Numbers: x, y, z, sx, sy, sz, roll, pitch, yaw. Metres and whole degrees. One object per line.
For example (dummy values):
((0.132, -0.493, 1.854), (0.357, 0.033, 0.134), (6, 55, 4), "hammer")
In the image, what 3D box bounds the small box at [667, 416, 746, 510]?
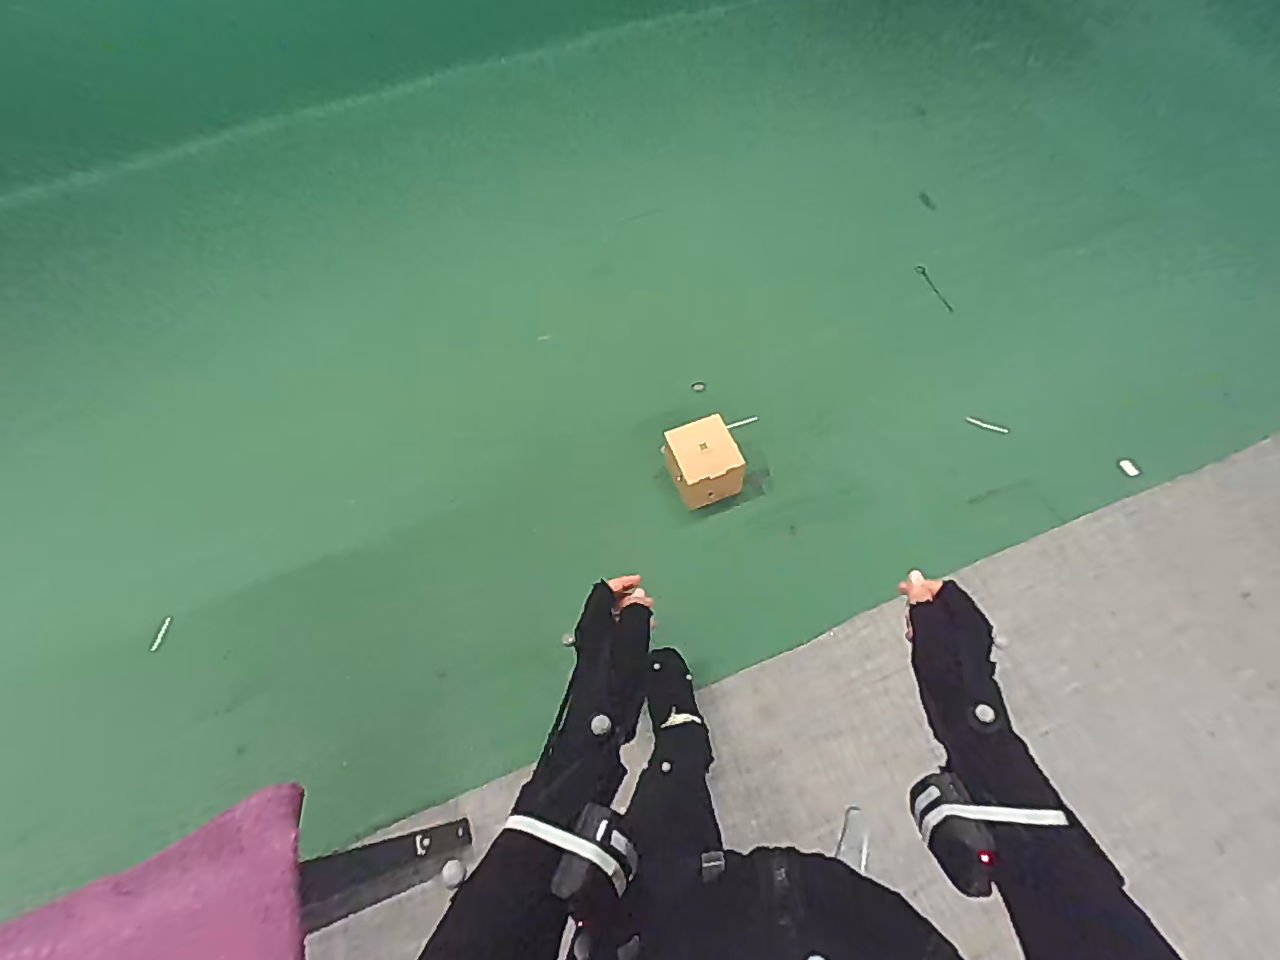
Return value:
((0.180, -0.044, 1.519), (0.168, 0.176, 0.179), (-20, 63, -7), "small box")
